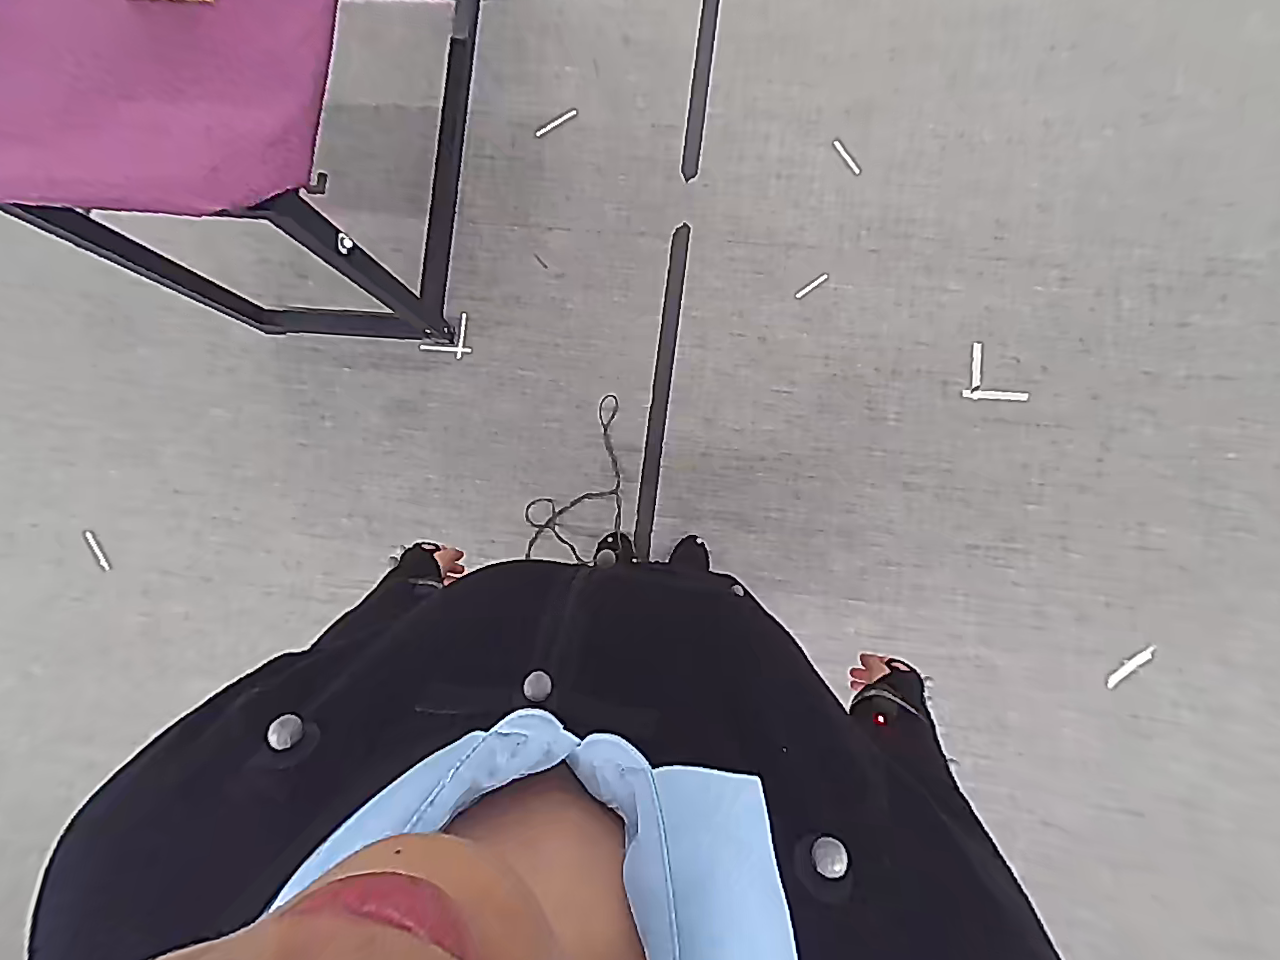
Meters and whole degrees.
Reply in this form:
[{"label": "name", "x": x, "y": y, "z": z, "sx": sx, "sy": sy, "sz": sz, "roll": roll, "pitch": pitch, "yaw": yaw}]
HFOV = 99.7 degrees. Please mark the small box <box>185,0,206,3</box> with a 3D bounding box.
[{"label": "small box", "x": -0.774, "y": -0.885, "z": 0.817, "sx": 0.168, "sy": 0.176, "sz": 0.179, "roll": 7, "pitch": 86, "yaw": 4}]
